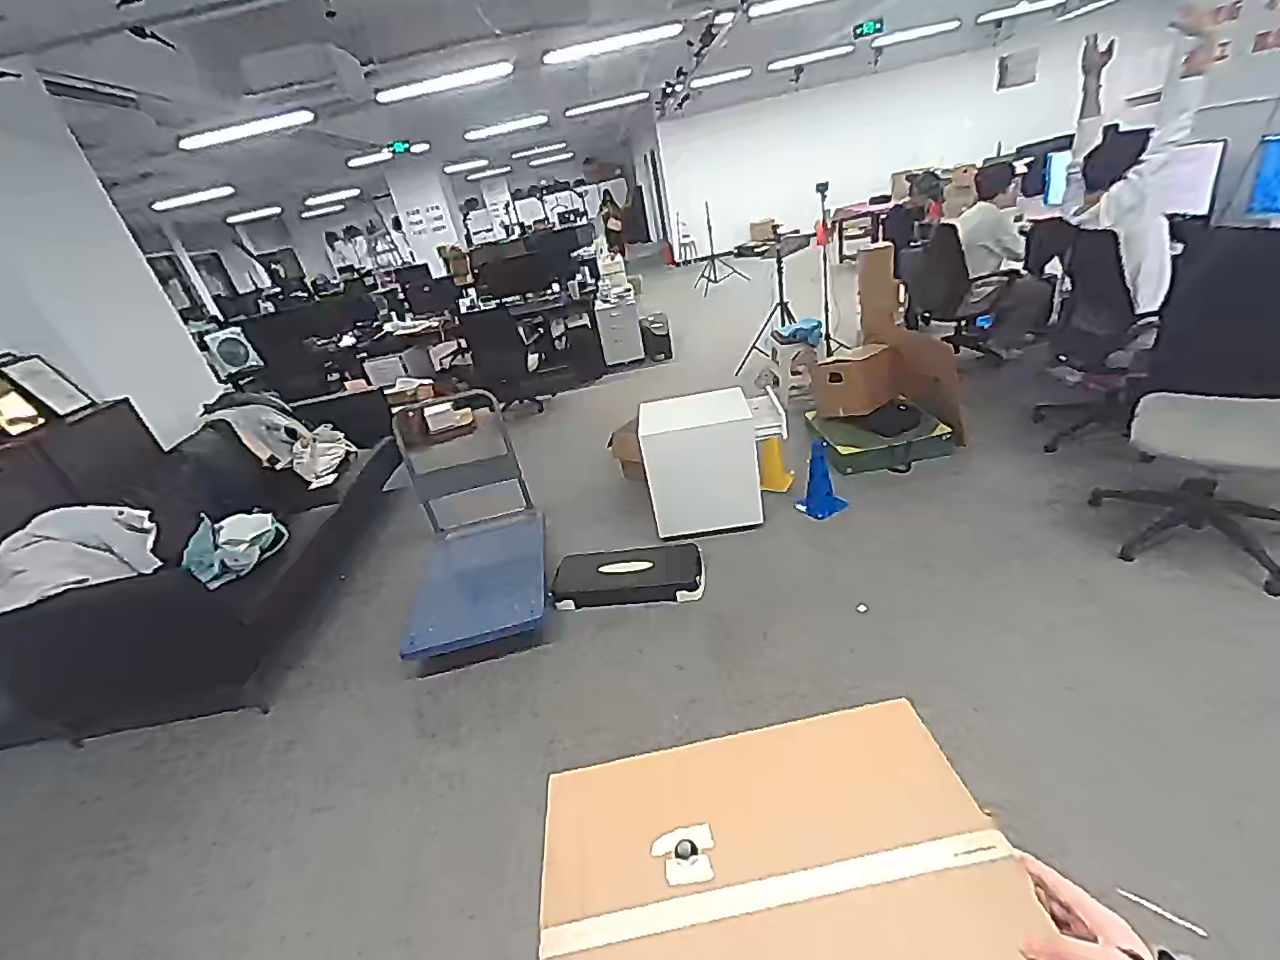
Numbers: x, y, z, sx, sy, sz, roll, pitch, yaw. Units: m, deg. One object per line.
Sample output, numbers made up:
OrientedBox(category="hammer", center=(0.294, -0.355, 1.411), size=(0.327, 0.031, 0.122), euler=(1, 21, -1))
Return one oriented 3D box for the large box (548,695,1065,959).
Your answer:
OrientedBox(category="large box", center=(0.146, 0.486, 0.546), size=(0.408, 0.320, 0.320), euler=(-14, 28, 1))
